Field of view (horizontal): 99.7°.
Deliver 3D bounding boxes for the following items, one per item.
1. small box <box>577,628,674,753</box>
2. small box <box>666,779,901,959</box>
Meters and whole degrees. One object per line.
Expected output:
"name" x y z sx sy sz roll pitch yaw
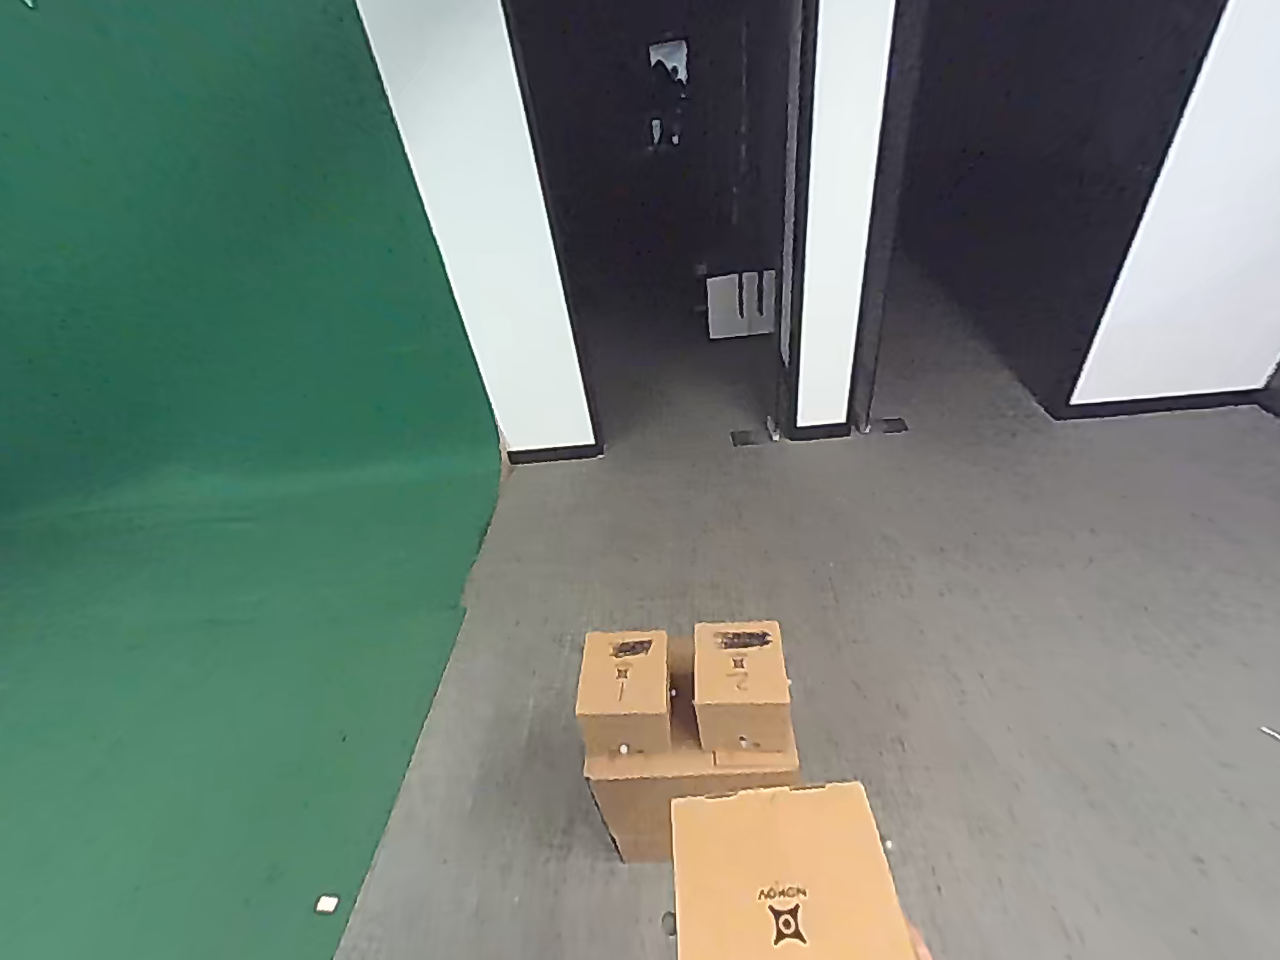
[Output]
"small box" -0.021 0.418 1.080 0.168 0.176 0.179 -3 40 7
"small box" 0.121 0.387 0.461 0.168 0.176 0.179 -10 38 7
